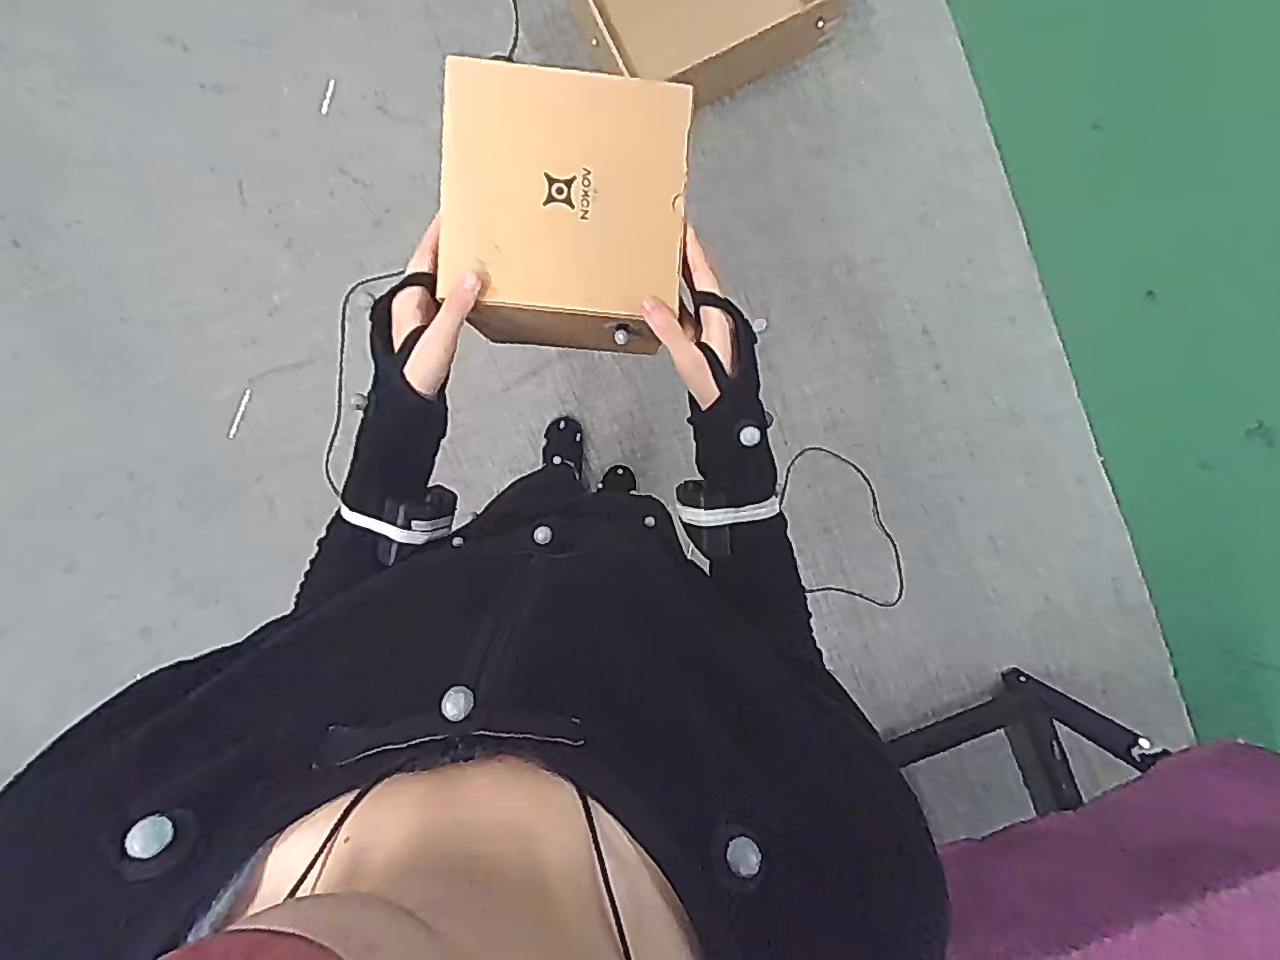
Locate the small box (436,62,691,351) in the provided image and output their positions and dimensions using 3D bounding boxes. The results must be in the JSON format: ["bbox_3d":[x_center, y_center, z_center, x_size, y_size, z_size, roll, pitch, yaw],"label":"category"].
[{"bbox_3d":[-0.062,-0.213,0.472,0.179,0.176,0.168,4,94,-6],"label":"small box"}]
